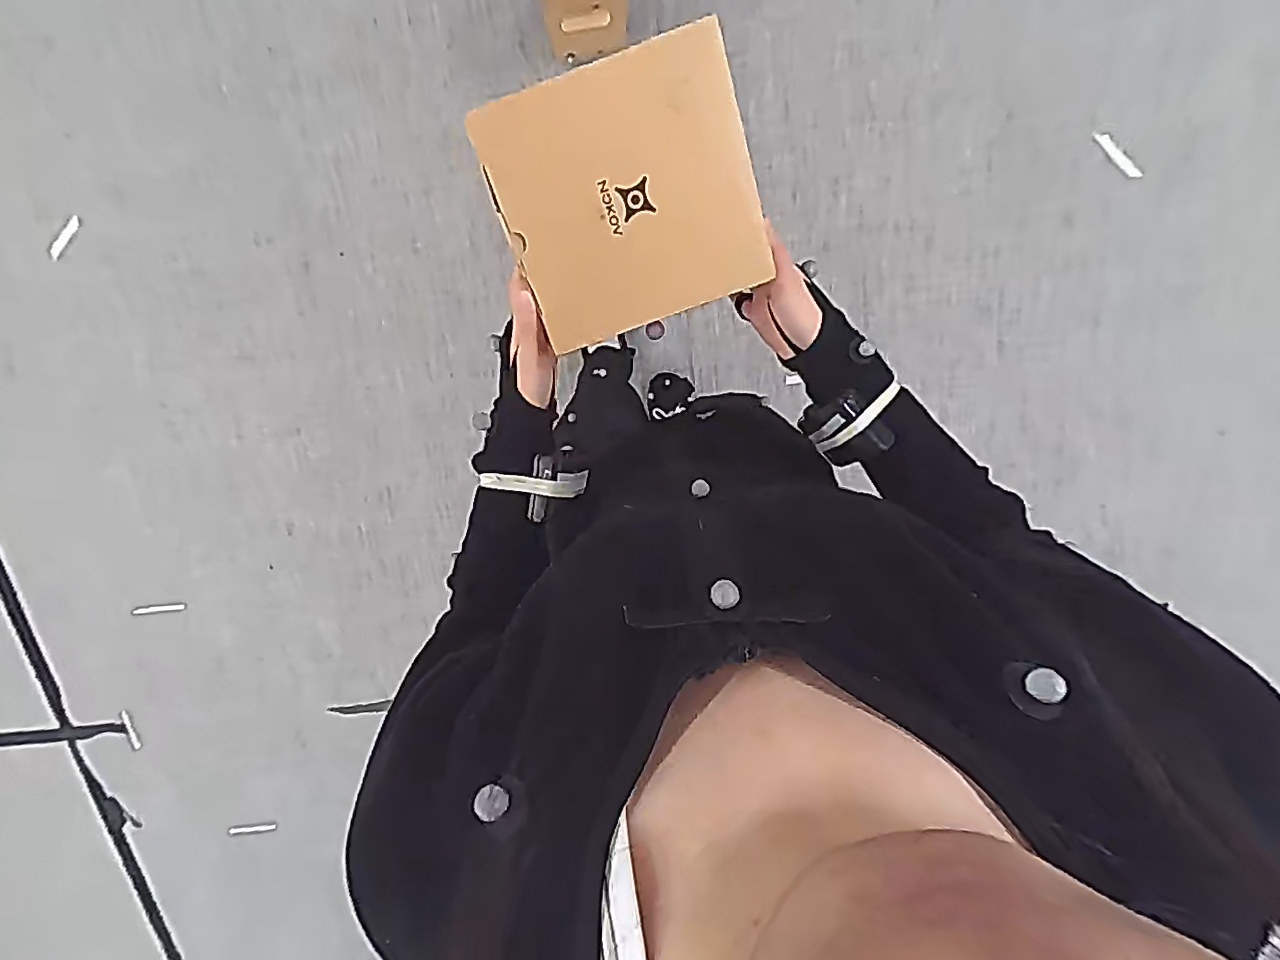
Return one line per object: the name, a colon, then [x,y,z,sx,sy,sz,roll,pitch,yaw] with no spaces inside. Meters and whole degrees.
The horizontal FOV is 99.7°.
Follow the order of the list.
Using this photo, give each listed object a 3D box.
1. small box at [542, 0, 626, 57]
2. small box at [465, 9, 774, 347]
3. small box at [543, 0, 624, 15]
small box: [-0.124,-1.051,1.162,0.168,0.176,0.179,-9,104,2]
small box: [-0.013,-0.227,0.444,0.179,0.176,0.168,-19,112,5]
small box: [-0.121,-1.012,1.005,0.168,0.176,0.179,-9,103,1]
